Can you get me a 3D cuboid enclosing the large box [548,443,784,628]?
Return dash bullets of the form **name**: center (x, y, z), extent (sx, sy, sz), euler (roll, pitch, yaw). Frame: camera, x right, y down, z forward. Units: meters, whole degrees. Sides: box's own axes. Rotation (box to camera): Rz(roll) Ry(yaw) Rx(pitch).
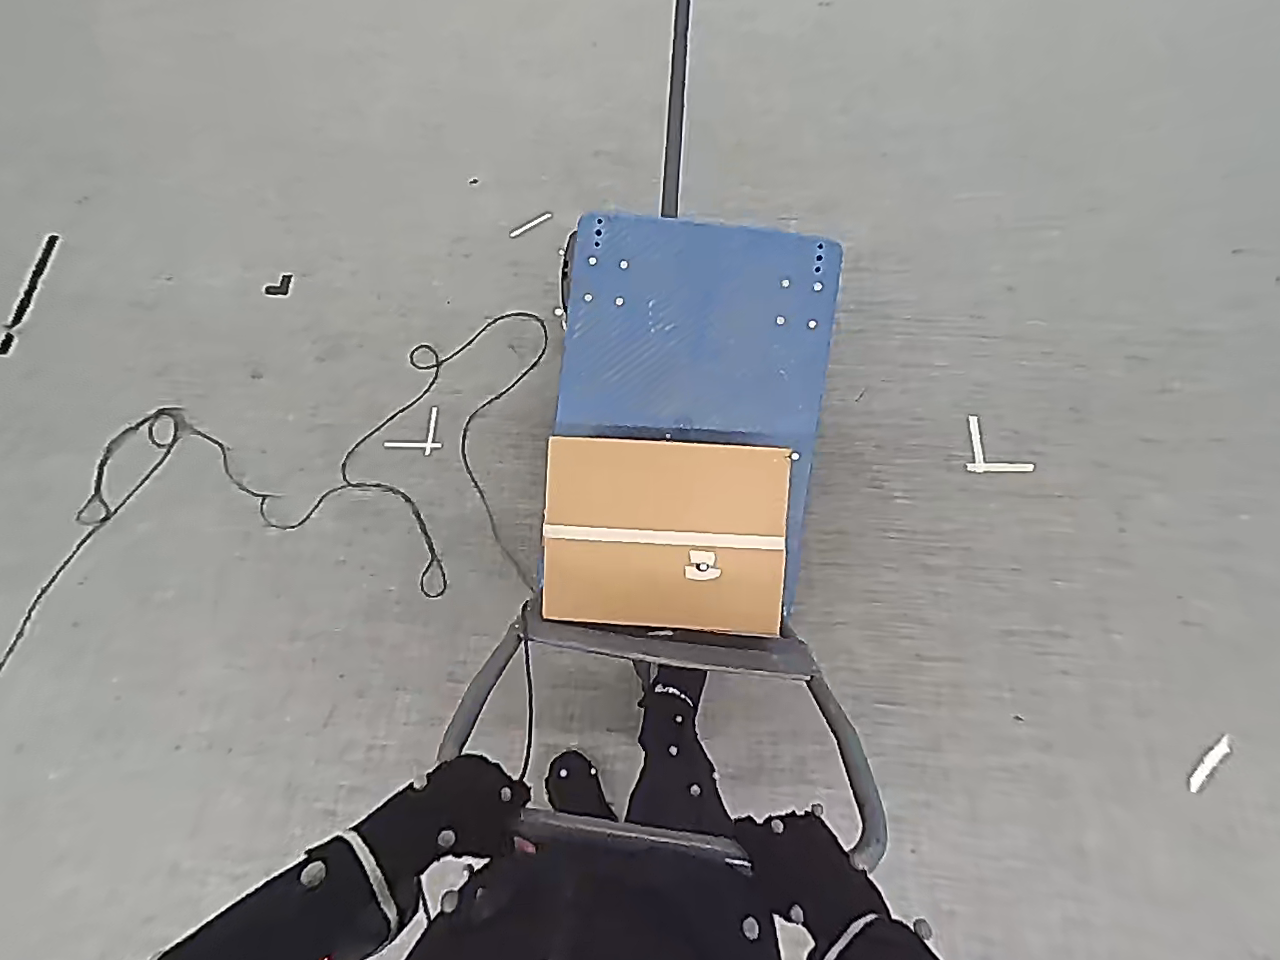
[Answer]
- **large box**: center (0.043, 0.090, 1.076), extent (0.408, 0.320, 0.320), euler (3, 94, 1)
